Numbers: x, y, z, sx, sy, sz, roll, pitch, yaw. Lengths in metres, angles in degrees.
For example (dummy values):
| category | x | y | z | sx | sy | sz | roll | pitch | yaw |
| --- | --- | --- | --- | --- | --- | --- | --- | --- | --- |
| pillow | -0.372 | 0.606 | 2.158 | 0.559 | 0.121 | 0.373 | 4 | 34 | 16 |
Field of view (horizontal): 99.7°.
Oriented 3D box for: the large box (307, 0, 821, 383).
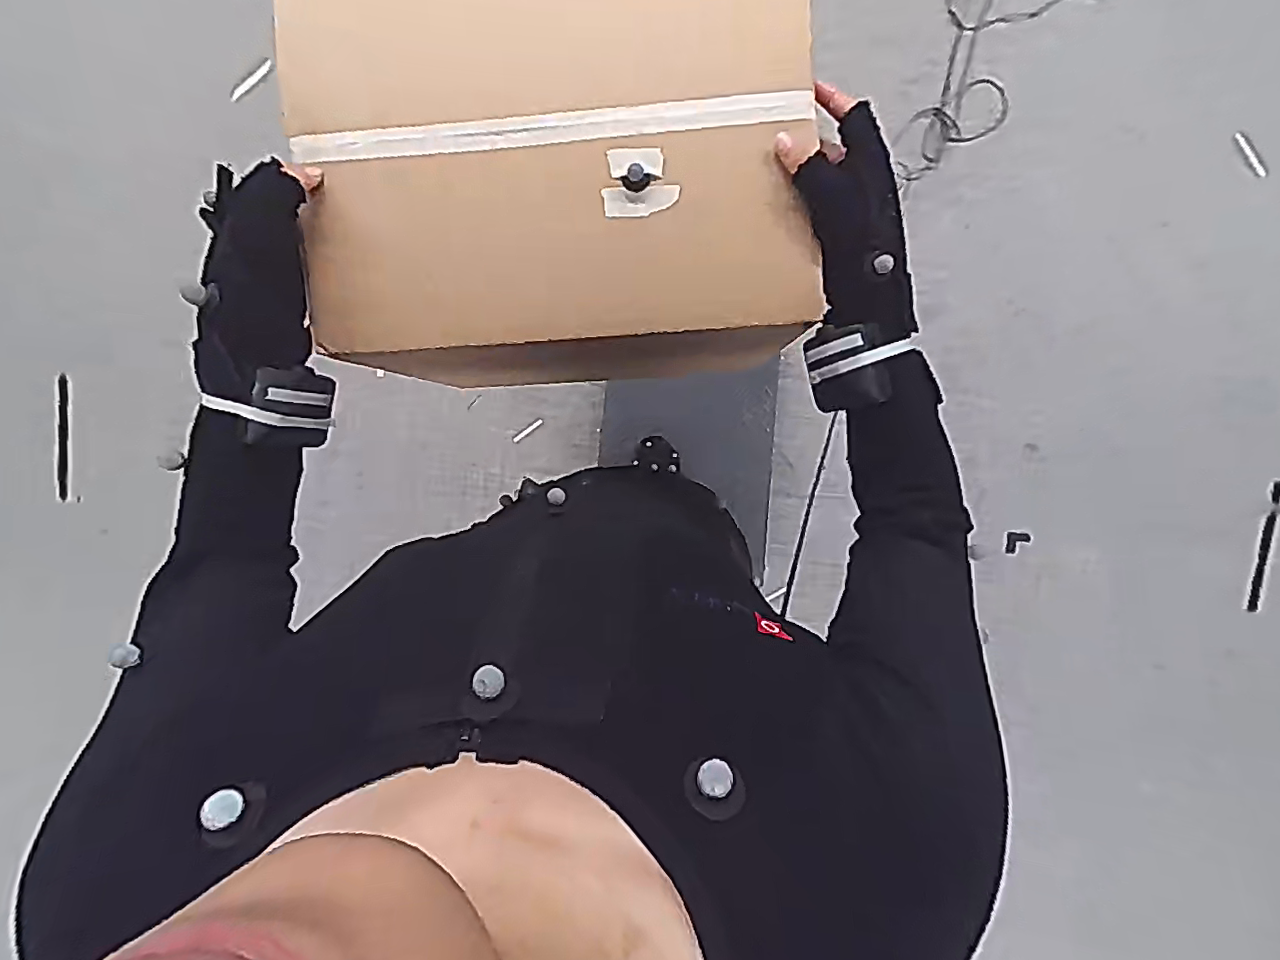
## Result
| category | x | y | z | sx | sy | sz | roll | pitch | yaw |
| --- | --- | --- | --- | --- | --- | --- | --- | --- | --- |
| large box | -0.058 | -0.287 | 0.578 | 0.408 | 0.320 | 0.320 | -3 | 95 | 2 |
